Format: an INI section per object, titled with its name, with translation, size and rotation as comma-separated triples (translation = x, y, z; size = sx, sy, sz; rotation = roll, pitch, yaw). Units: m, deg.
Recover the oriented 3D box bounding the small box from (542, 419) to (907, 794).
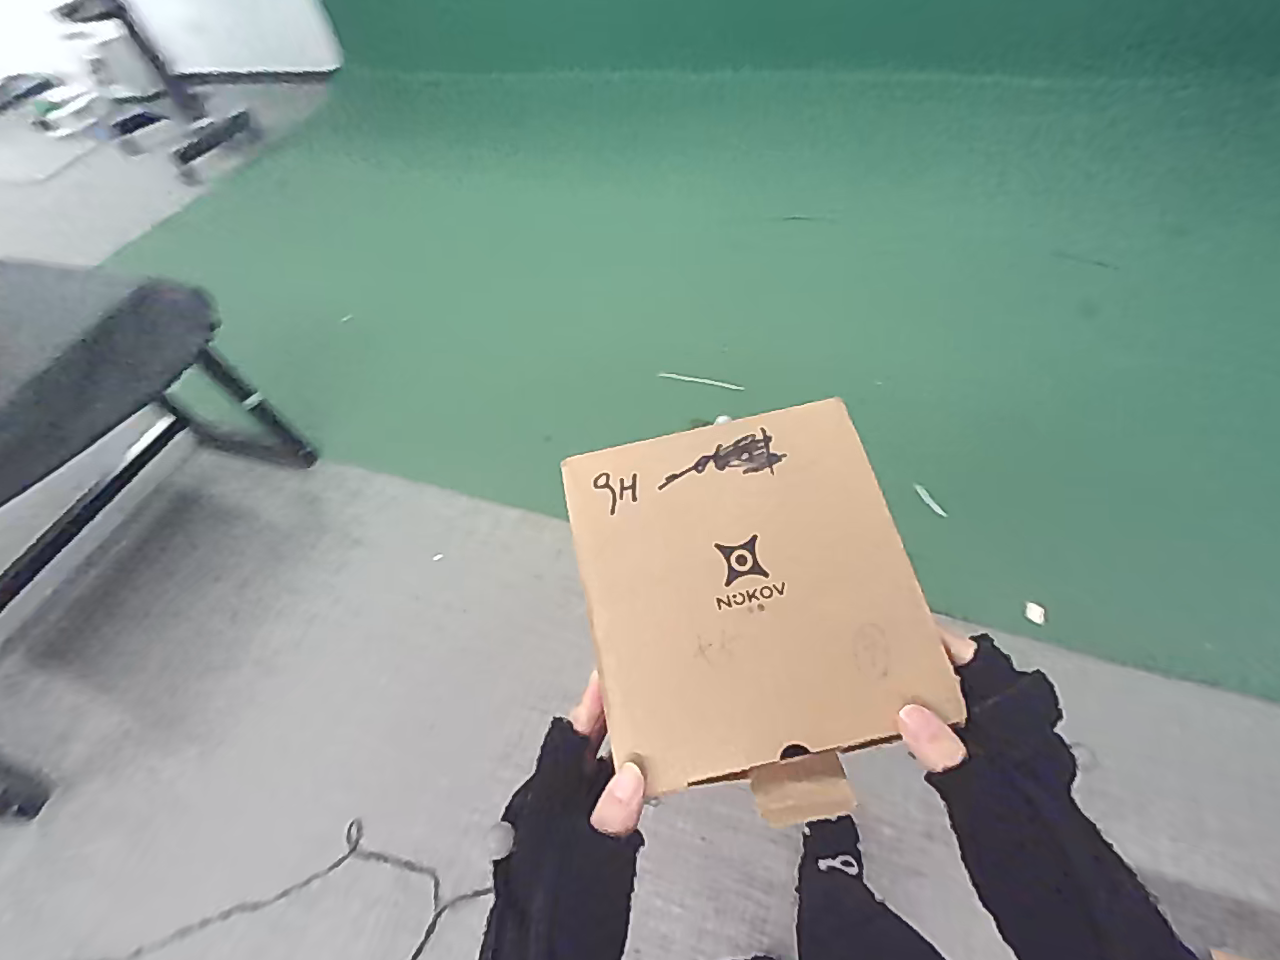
[small box]
translation = 0.046, 0.088, 0.380
size = 0.168, 0.176, 0.179
rotation = -16, 69, -1
